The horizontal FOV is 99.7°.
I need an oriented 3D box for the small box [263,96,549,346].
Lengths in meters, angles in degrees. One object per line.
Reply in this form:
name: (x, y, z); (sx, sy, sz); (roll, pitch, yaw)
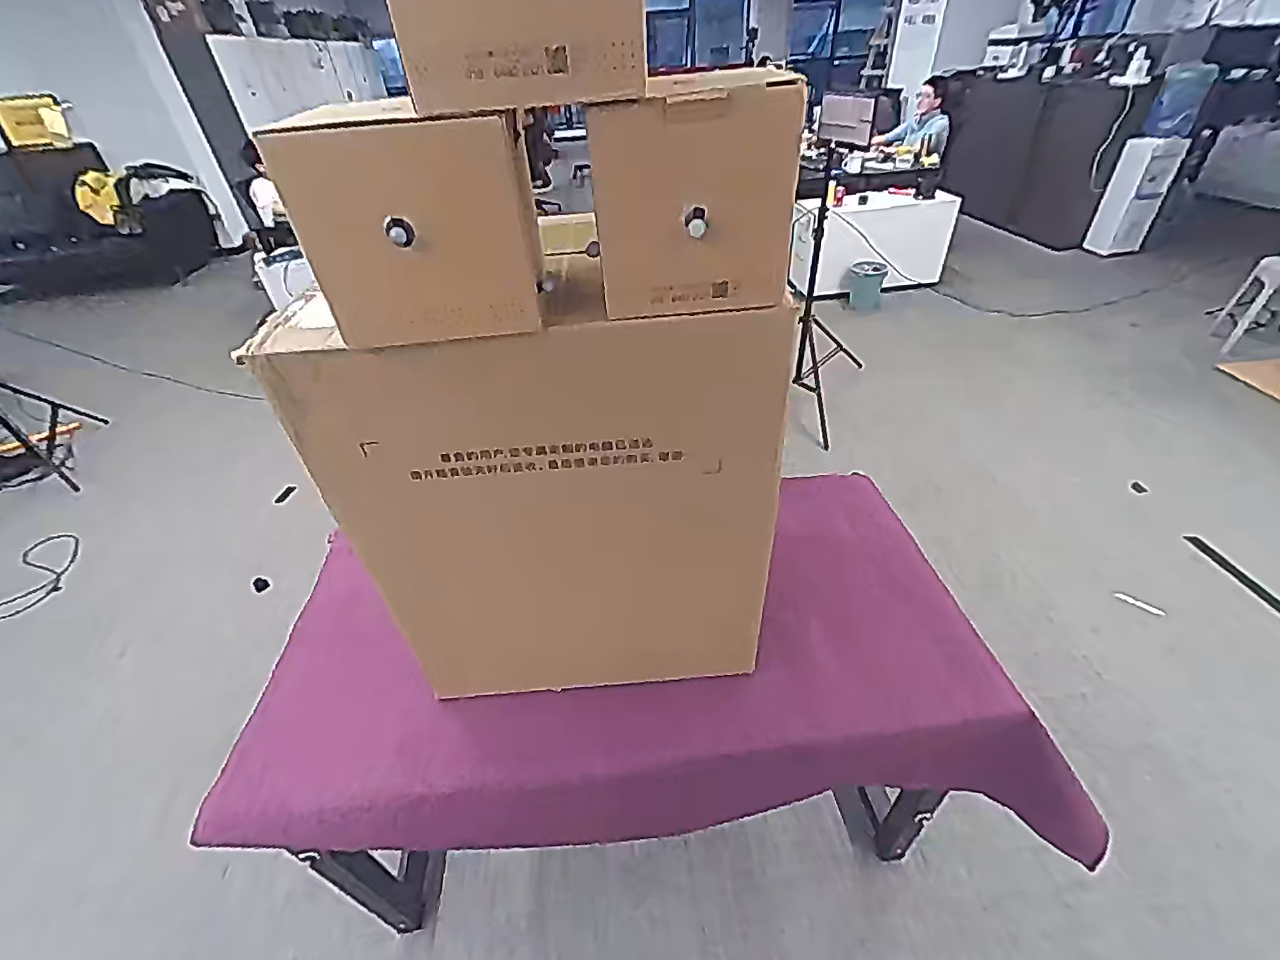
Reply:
small box: (-0.182, -0.239, 0.494); (0.179, 0.176, 0.168); (-7, 39, -2)

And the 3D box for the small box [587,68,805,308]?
small box: (0.045, -0.272, 0.512); (0.168, 0.176, 0.179); (-4, 40, 0)

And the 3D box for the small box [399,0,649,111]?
small box: (-0.082, -0.380, 0.401); (0.168, 0.176, 0.179); (-4, 39, -1)
